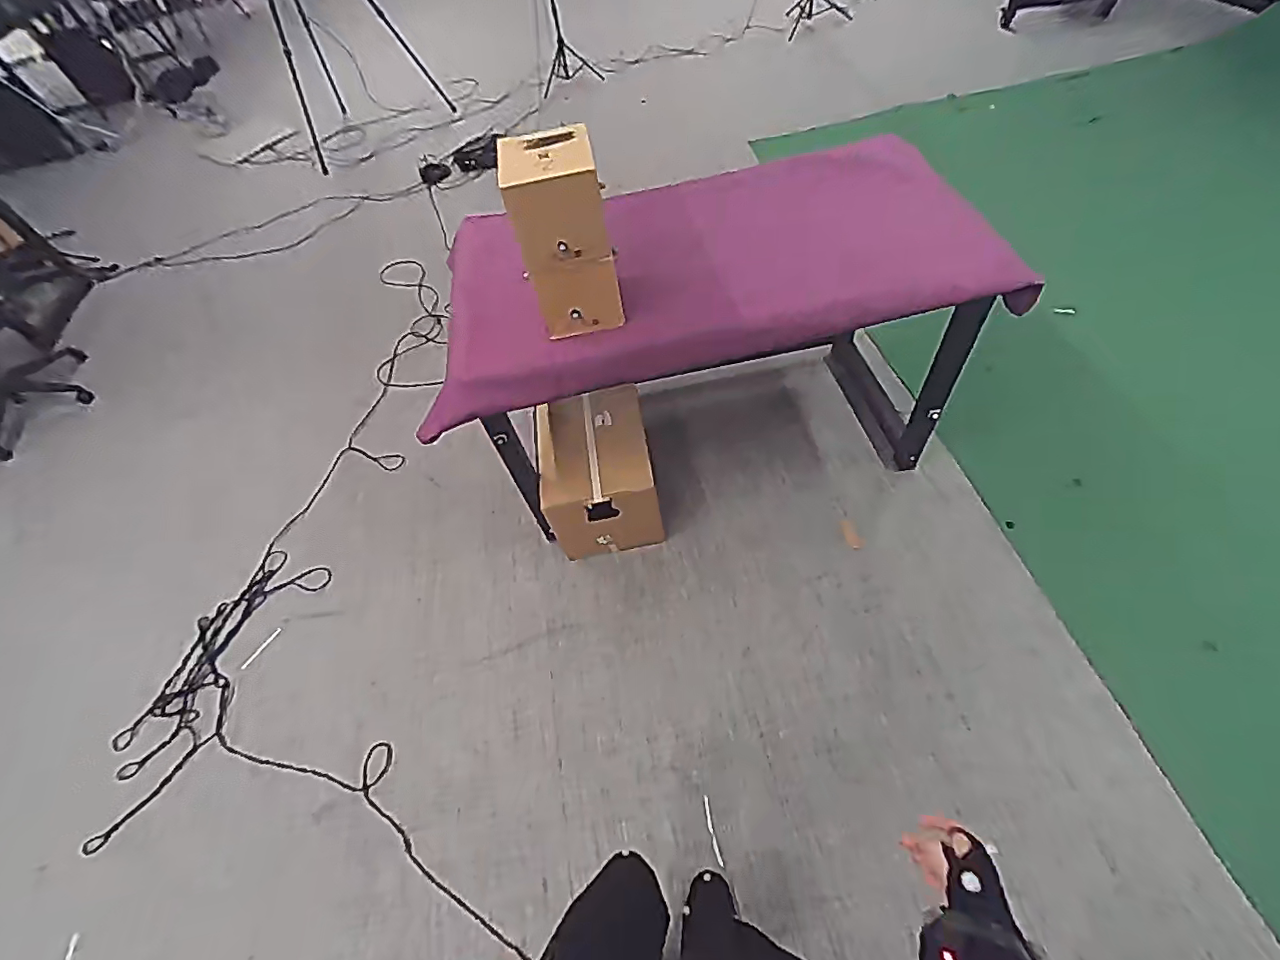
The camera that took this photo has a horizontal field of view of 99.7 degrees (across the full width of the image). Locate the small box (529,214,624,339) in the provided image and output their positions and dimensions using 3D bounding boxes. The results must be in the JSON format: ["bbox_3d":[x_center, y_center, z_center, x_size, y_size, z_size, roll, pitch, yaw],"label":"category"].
[{"bbox_3d":[-0.133,-0.427,1.146,0.168,0.176,0.179,-11,55,1],"label":"small box"}]
